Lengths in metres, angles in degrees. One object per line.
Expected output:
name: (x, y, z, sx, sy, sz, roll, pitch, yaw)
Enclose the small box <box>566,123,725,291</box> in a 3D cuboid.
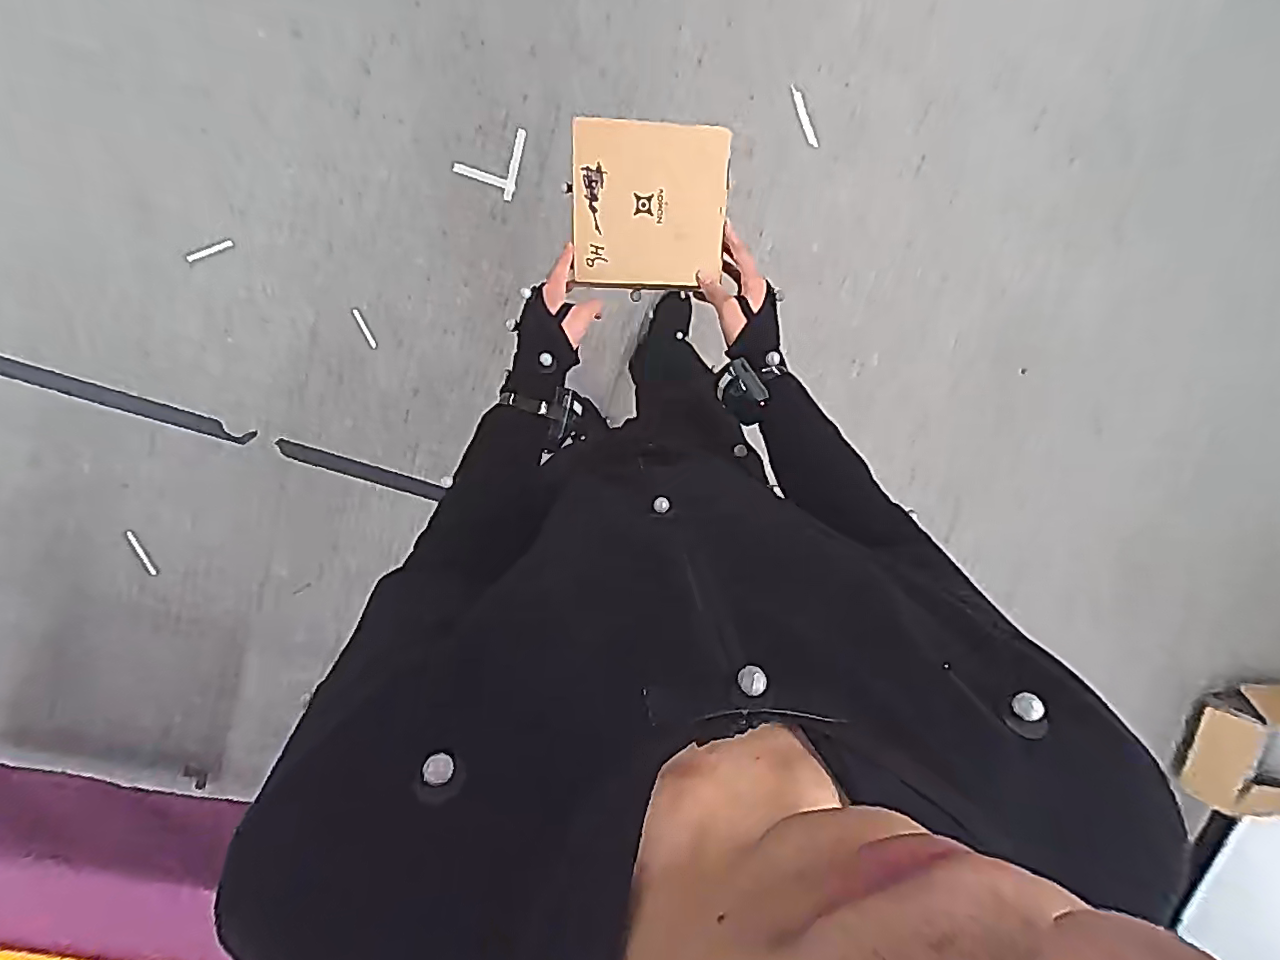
small box: (-0.004, -0.333, 0.693, 0.179, 0.176, 0.168, -1, 108, -8)
